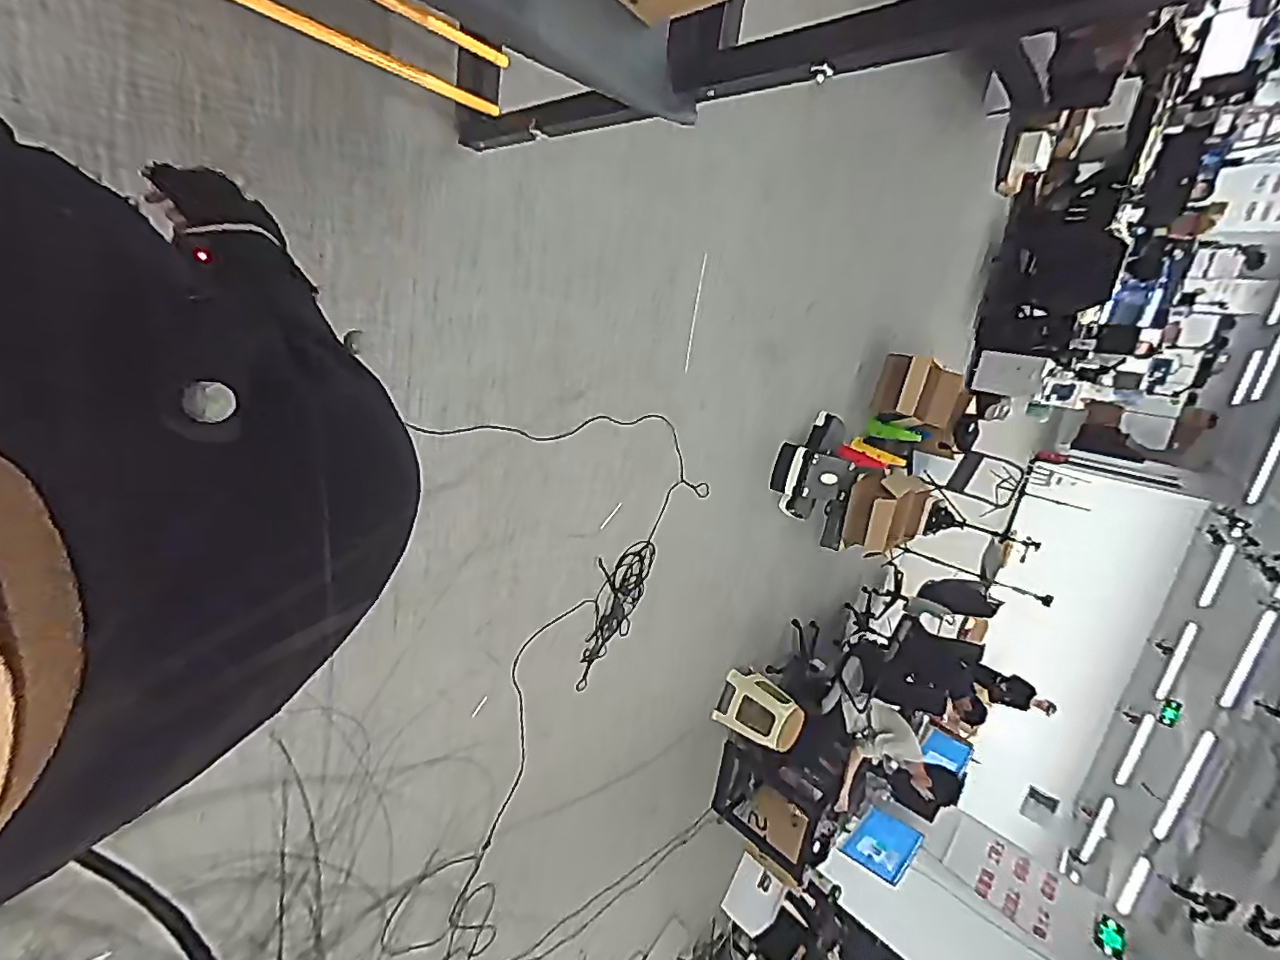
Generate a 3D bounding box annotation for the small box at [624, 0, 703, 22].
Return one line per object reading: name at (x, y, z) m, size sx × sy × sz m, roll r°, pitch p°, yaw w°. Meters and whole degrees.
small box at (0.034, -0.792, 0.750) m, size 0.168 × 0.176 × 0.179 m, roll -2°, pitch 108°, yaw -48°
